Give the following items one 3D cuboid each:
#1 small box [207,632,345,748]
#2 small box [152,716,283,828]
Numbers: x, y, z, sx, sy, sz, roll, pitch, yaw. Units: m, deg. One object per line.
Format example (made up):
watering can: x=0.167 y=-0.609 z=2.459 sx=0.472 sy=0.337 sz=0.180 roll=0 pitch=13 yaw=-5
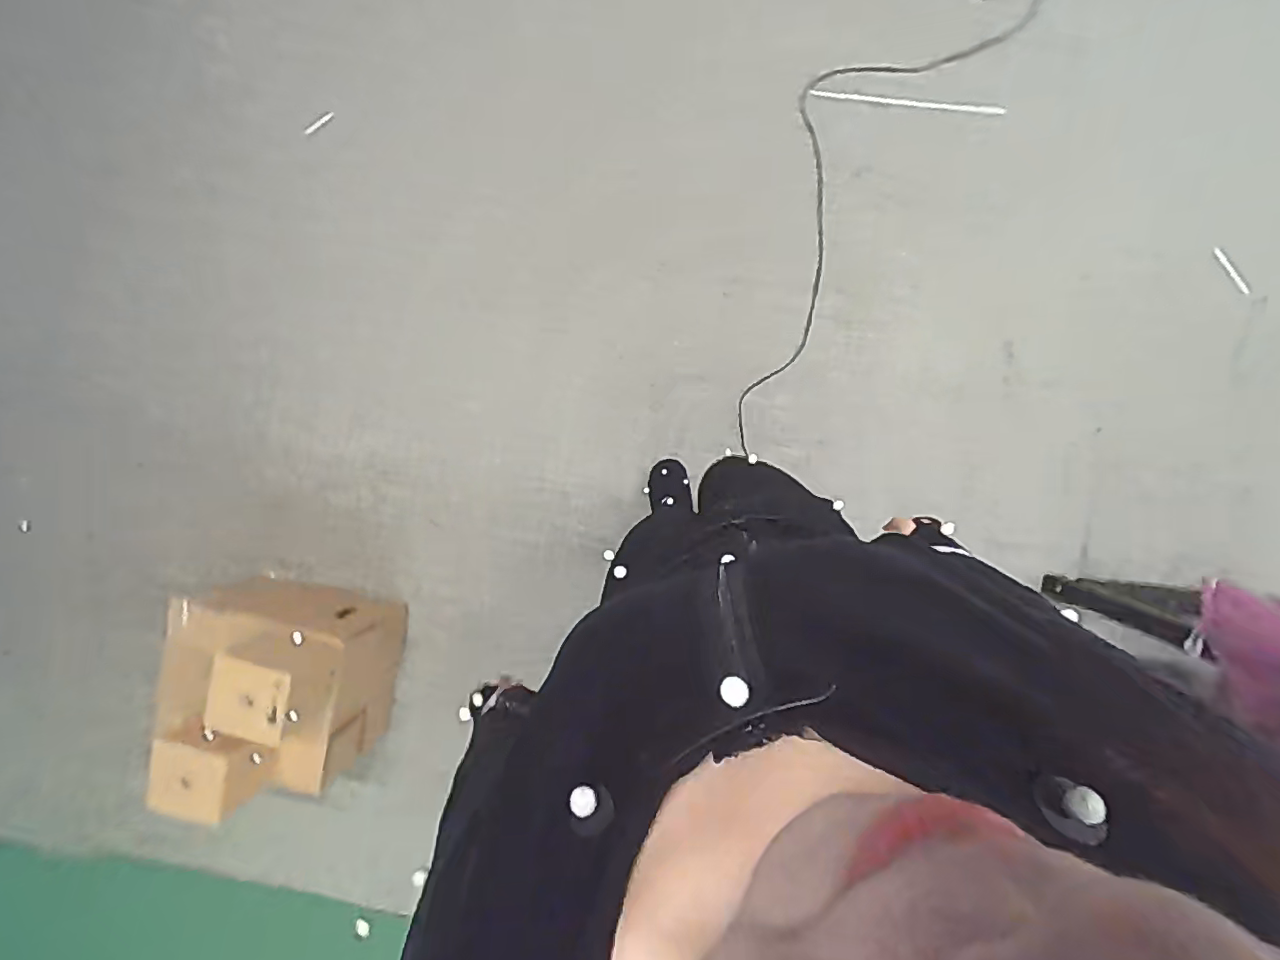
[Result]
small box: x=-0.806 y=0.457 z=1.209 sx=0.179 sy=0.176 sz=0.168 roll=14 pitch=95 yaw=5
small box: x=-0.957 y=0.647 z=1.242 sx=0.179 sy=0.176 sz=0.168 roll=12 pitch=96 yaw=6
